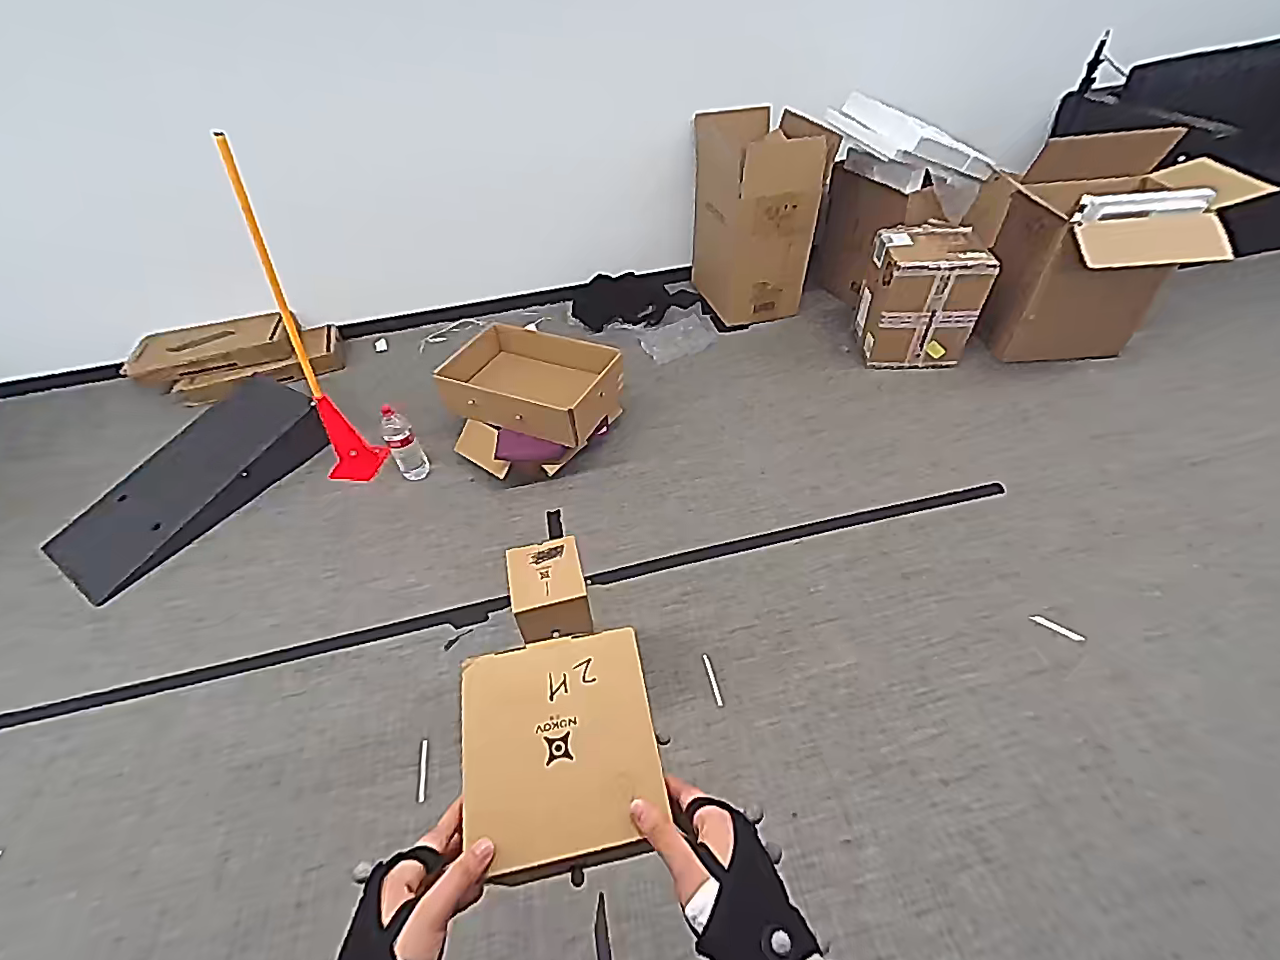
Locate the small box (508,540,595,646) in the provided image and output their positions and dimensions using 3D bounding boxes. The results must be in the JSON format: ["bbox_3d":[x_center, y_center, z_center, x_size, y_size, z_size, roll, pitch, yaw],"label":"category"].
[{"bbox_3d":[-0.209,0.273,1.280,0.168,0.176,0.179,-13,46,-8],"label":"small box"}]

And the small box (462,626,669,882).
[{"bbox_3d":[-0.068,0.271,0.530,0.168,0.176,0.179,-10,52,-6],"label":"small box"}]
